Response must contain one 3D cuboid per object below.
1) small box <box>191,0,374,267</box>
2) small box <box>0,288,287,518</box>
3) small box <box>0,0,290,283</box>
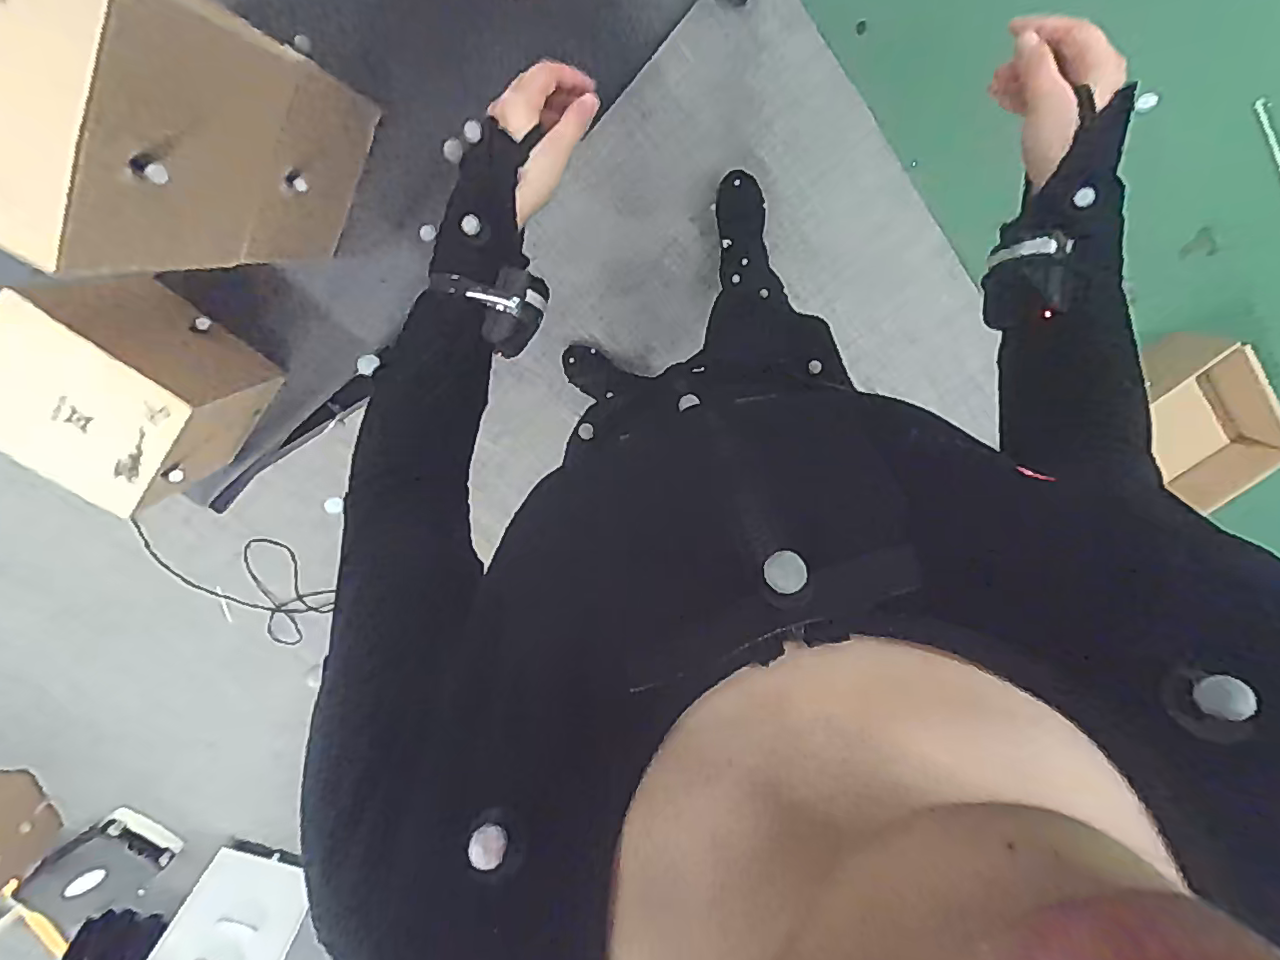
[{"bbox_3d":[-0.385,-0.328,0.514,0.168,0.176,0.179,27,110,-13],"label":"small box"},{"bbox_3d":[-0.556,-0.096,0.609,0.179,0.176,0.168,39,108,-16],"label":"small box"},{"bbox_3d":[-0.380,-0.260,0.365,0.168,0.176,0.179,30,109,-14],"label":"small box"}]
